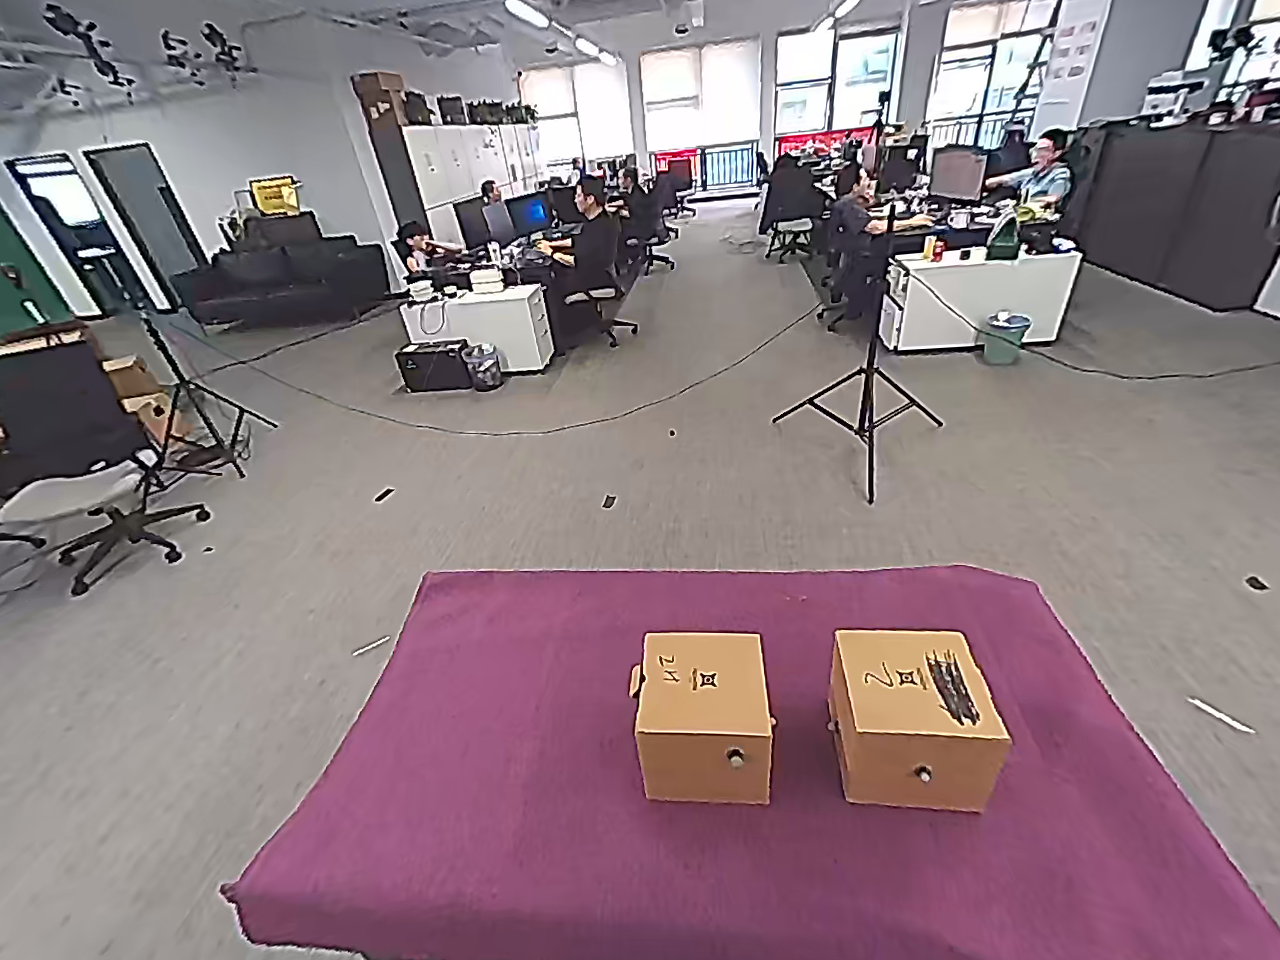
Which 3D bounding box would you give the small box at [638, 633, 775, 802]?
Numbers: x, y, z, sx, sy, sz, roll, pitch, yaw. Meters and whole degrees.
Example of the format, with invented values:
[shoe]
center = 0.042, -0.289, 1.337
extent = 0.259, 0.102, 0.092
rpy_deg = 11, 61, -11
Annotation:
[small box]
center = 0.098, 0.345, 0.792
extent = 0.179, 0.176, 0.168
rpy_deg = -3, 32, 8
